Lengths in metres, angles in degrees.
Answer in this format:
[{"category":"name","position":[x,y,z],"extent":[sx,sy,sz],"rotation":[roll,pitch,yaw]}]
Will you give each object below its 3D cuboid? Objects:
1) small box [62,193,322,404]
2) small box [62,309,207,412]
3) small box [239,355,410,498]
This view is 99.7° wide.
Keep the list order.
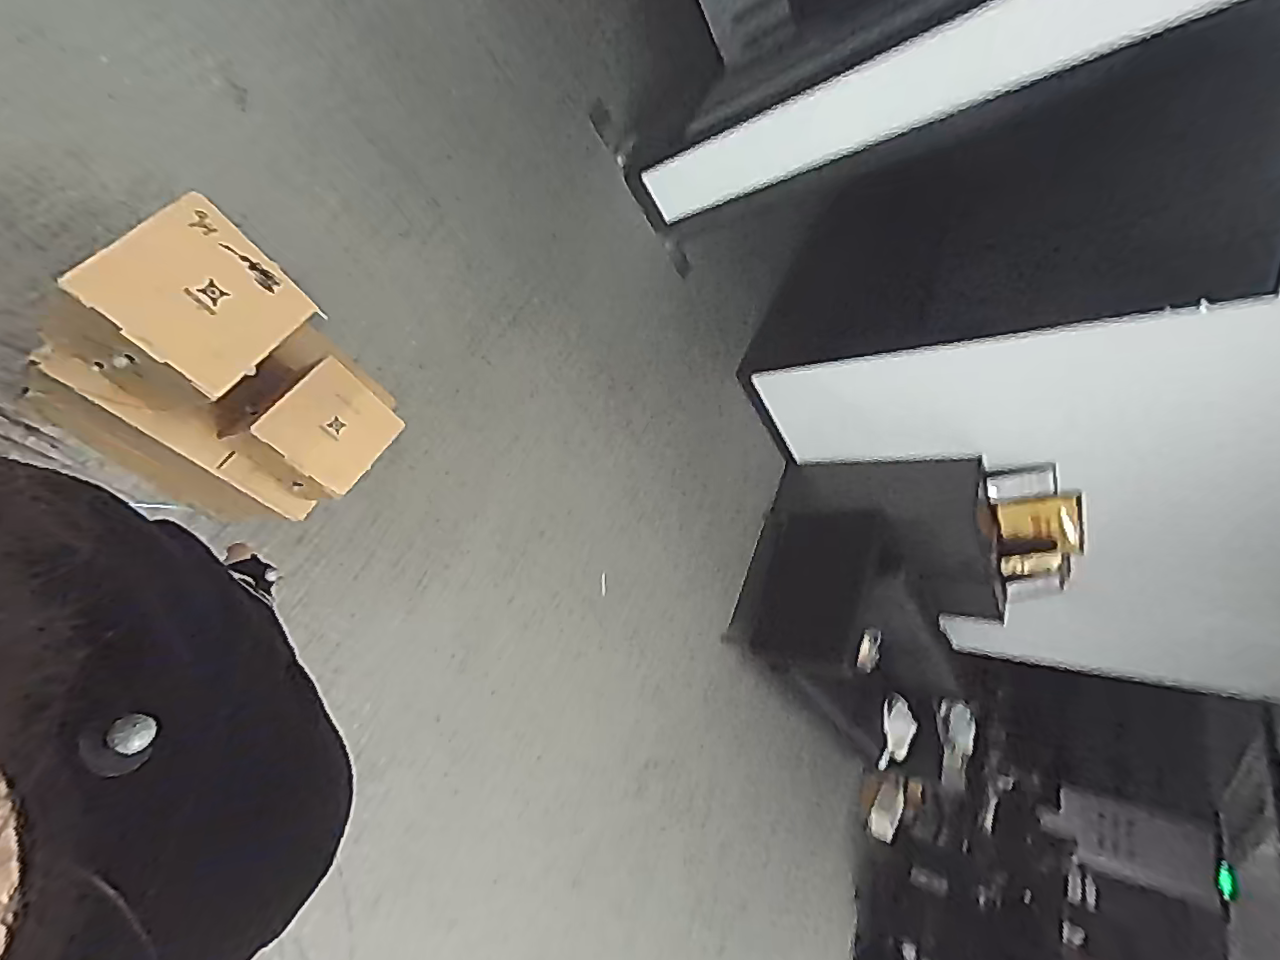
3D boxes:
[{"category":"small box","position":[-0.550,-0.211,0.672],"extent":[0.168,0.176,0.179],"rotation":[52,55,-37]},{"category":"small box","position":[-0.673,-0.216,0.780],"extent":[0.168,0.176,0.179],"rotation":[51,55,-38]},{"category":"small box","position":[-0.543,-0.083,0.927],"extent":[0.168,0.176,0.179],"rotation":[52,52,-34]}]
